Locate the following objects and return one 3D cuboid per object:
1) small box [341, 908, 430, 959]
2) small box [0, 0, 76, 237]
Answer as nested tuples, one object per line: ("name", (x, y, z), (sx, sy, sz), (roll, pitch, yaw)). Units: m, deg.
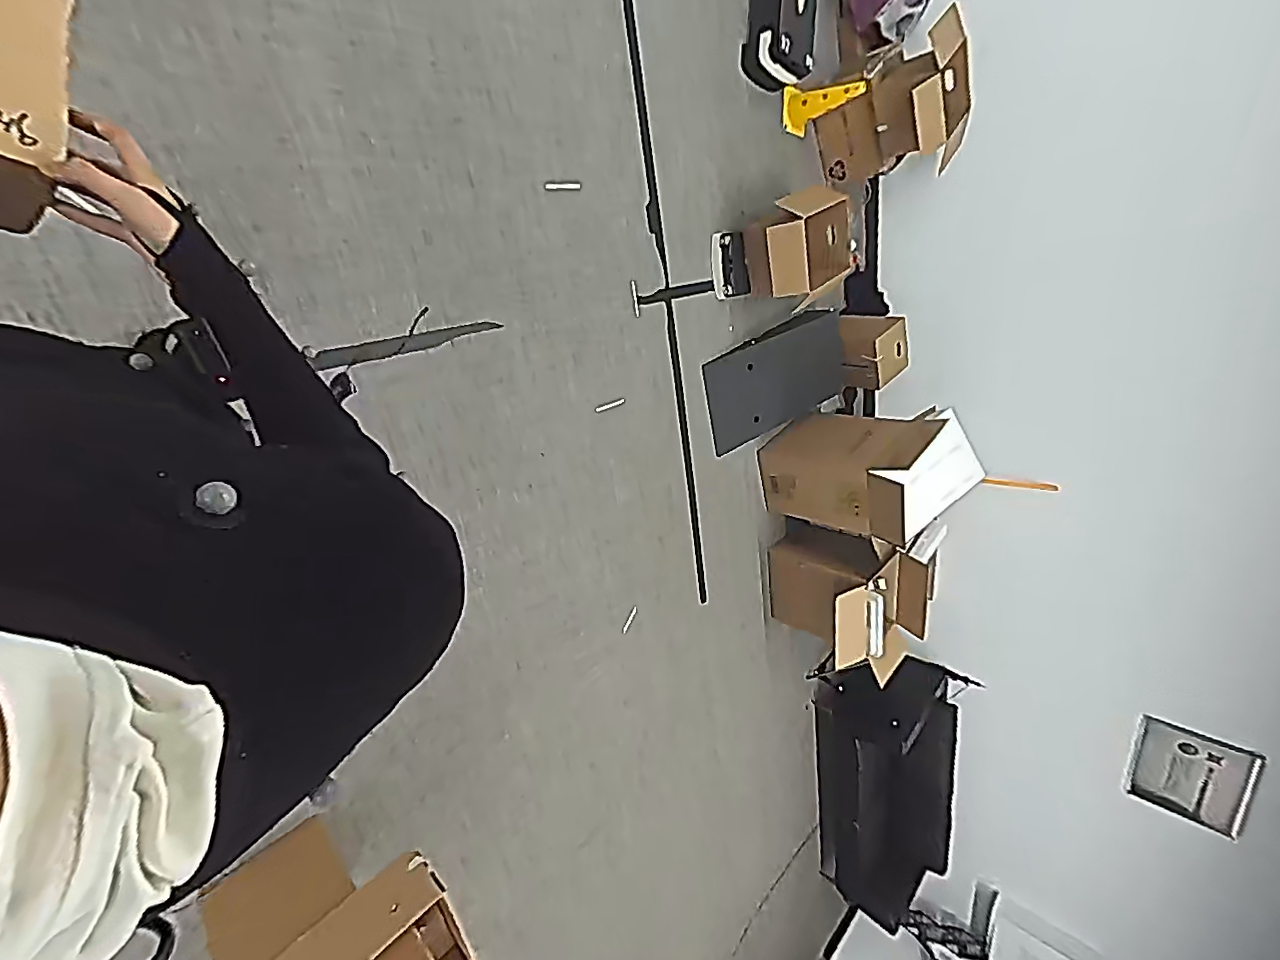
("small box", (-0.636, 1.254, 1.365), (0.179, 0.176, 0.168), (-34, 124, -37))
("small box", (-0.580, -0.326, 0.422), (0.168, 0.176, 0.179), (4, 84, -55))
